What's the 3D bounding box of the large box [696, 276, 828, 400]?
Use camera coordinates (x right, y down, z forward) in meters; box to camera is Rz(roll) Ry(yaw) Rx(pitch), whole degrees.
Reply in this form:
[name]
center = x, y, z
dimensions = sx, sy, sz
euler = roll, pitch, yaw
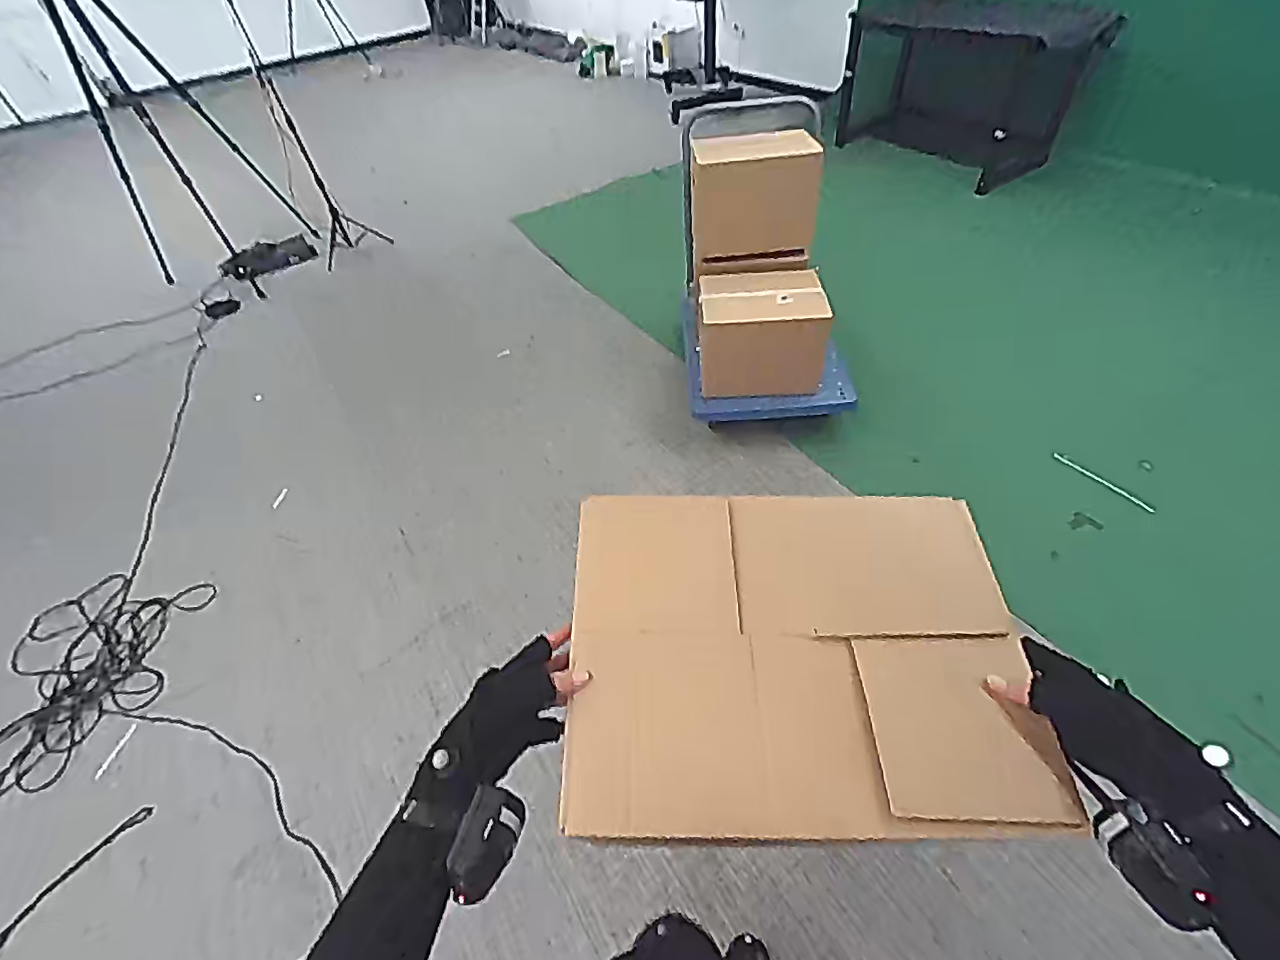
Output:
[large box]
center = 0.406, -0.500, 1.912
dimensions = 0.408, 0.320, 0.320
euler = -1, 47, 4
